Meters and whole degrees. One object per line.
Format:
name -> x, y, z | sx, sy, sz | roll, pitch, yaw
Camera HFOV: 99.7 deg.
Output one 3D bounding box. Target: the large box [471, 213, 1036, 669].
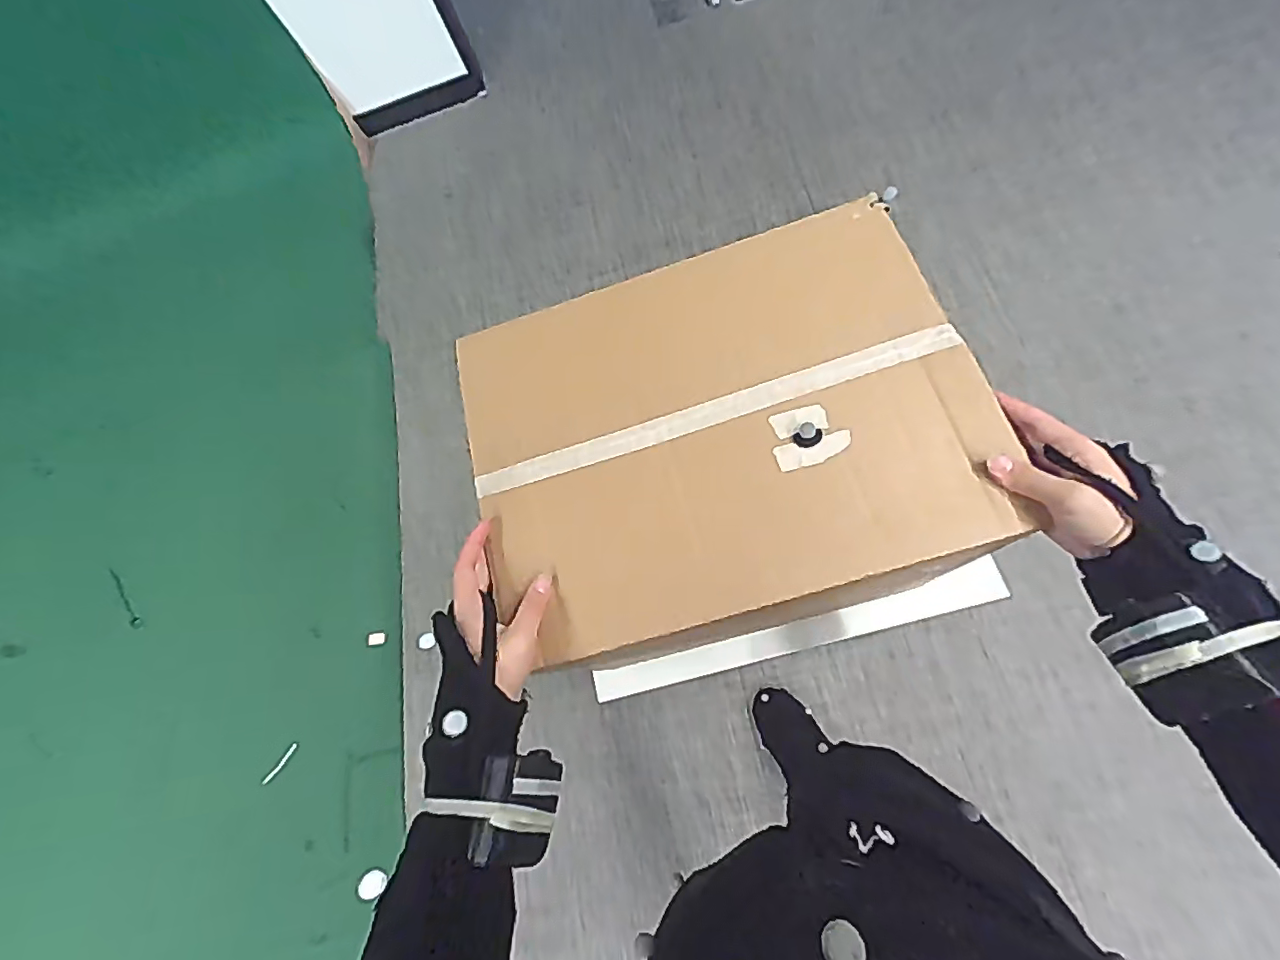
large box -> 0.085, -0.001, 0.592 | 0.408, 0.320, 0.320 | -17, 70, 4
